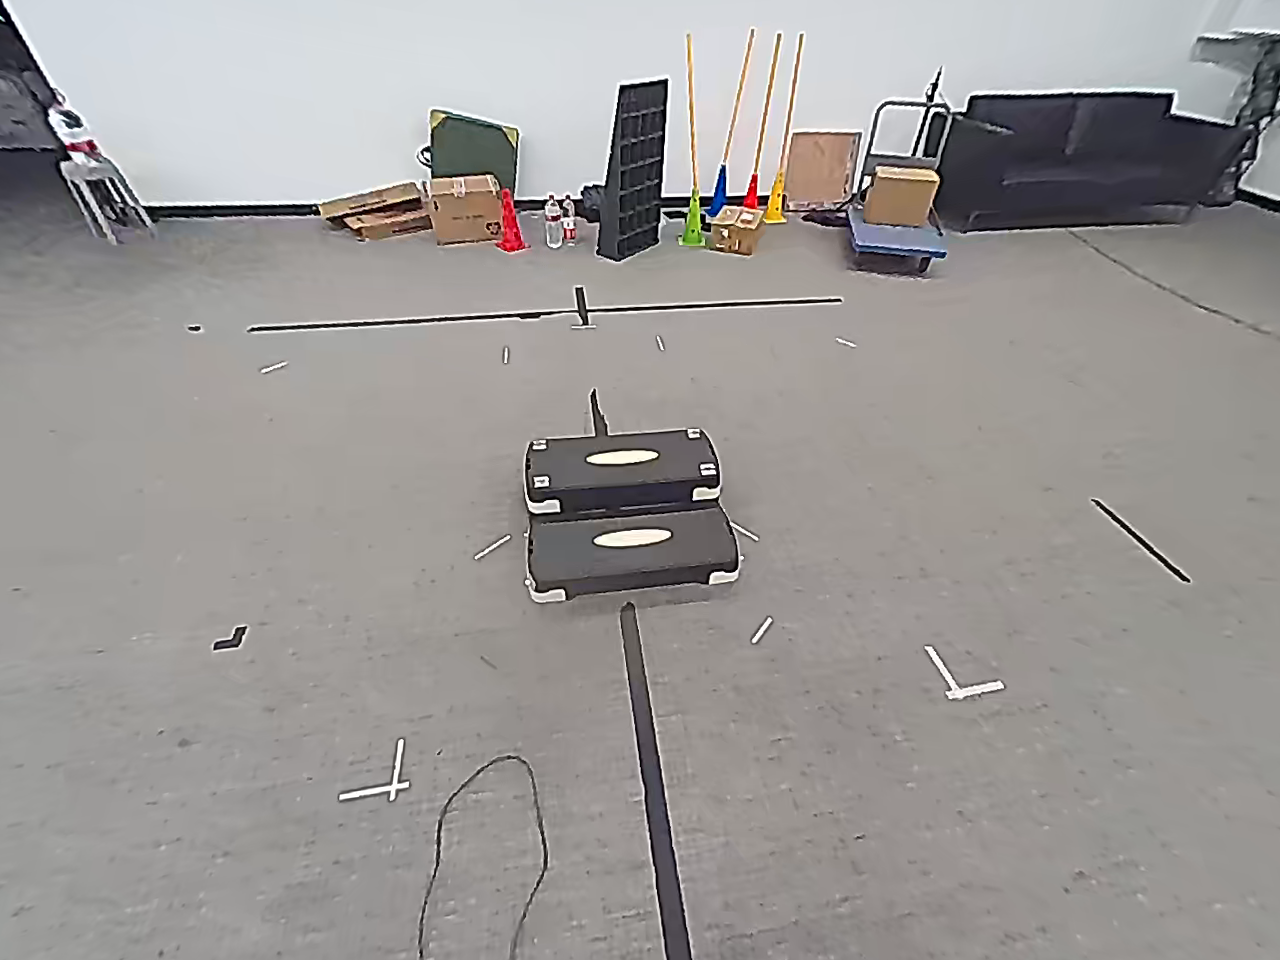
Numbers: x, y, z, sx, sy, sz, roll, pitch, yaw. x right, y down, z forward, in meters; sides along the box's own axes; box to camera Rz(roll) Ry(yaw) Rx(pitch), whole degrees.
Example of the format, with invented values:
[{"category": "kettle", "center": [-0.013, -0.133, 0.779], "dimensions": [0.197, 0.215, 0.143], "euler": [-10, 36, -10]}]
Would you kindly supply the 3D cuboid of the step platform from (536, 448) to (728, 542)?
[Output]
[{"category": "step platform", "center": [-0.029, 0.043, 1.945], "dimensions": [0.684, 0.204, 0.286], "euler": [-2, 41, -5]}]
